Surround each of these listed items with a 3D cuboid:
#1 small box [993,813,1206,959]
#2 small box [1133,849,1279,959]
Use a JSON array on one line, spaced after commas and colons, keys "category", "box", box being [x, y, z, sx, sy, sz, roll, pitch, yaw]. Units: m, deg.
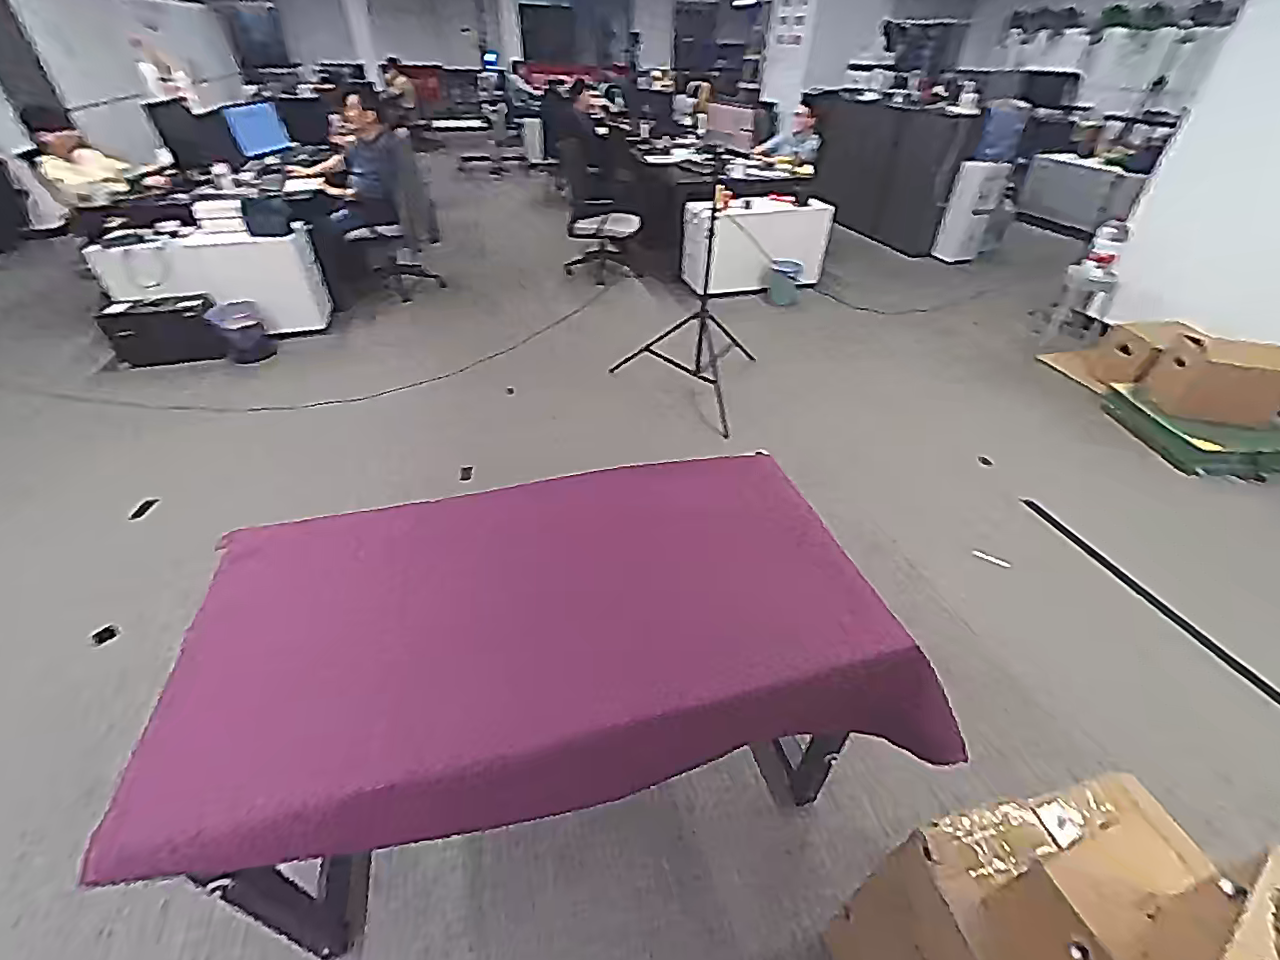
[{"category": "small box", "box": [0.582, 0.551, 0.656, 0.168, 0.176, 0.179, -13, 42, -14]}, {"category": "small box", "box": [0.595, 0.484, 0.478, 0.168, 0.176, 0.179, -23, 44, -26]}]
